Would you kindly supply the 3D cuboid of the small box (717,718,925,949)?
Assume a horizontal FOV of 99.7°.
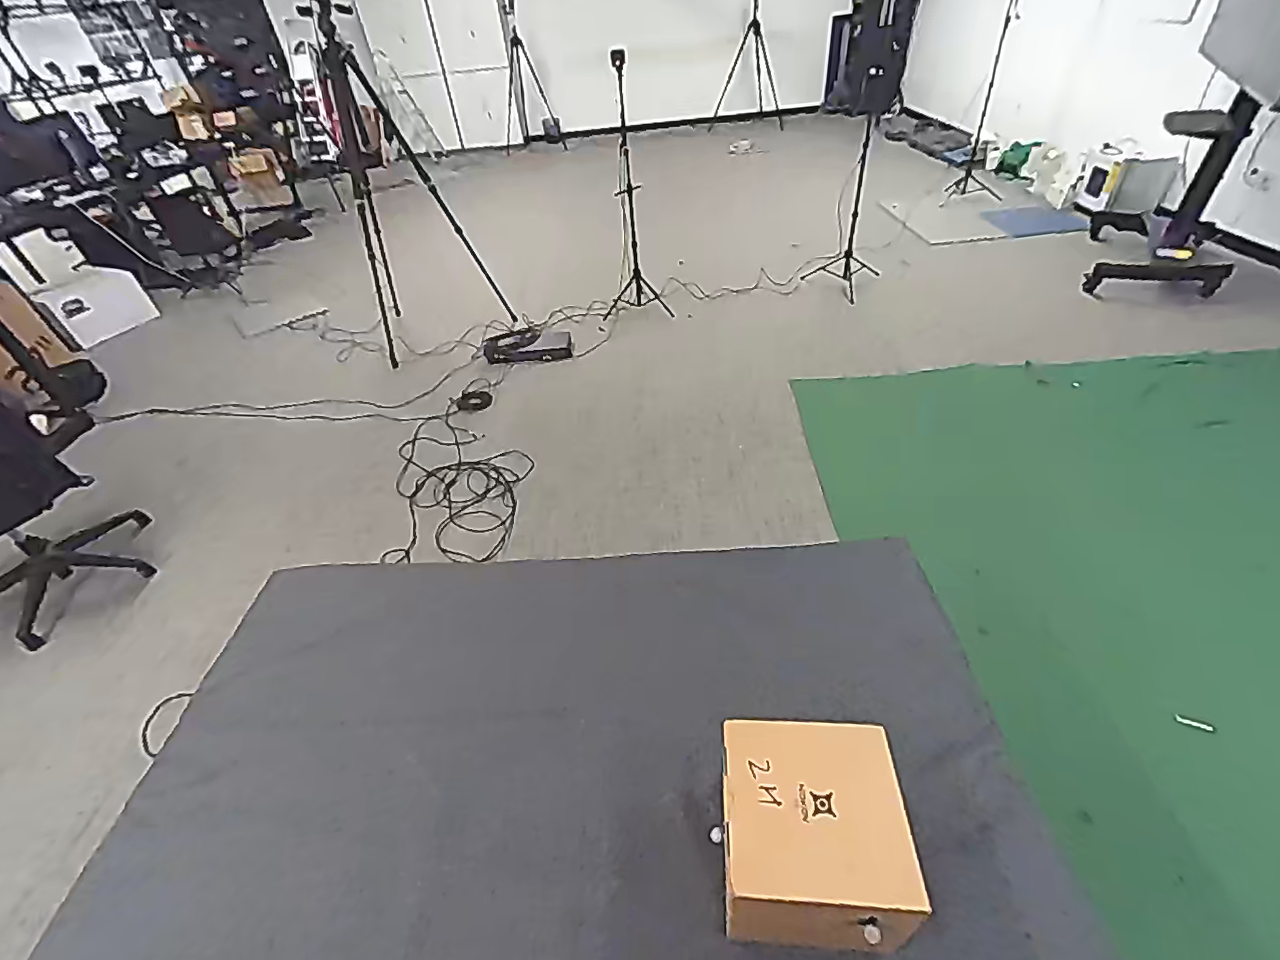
[{"bbox_3d":[0.173,0.379,0.583,0.179,0.176,0.168,-1,39,7],"label":"small box"}]
